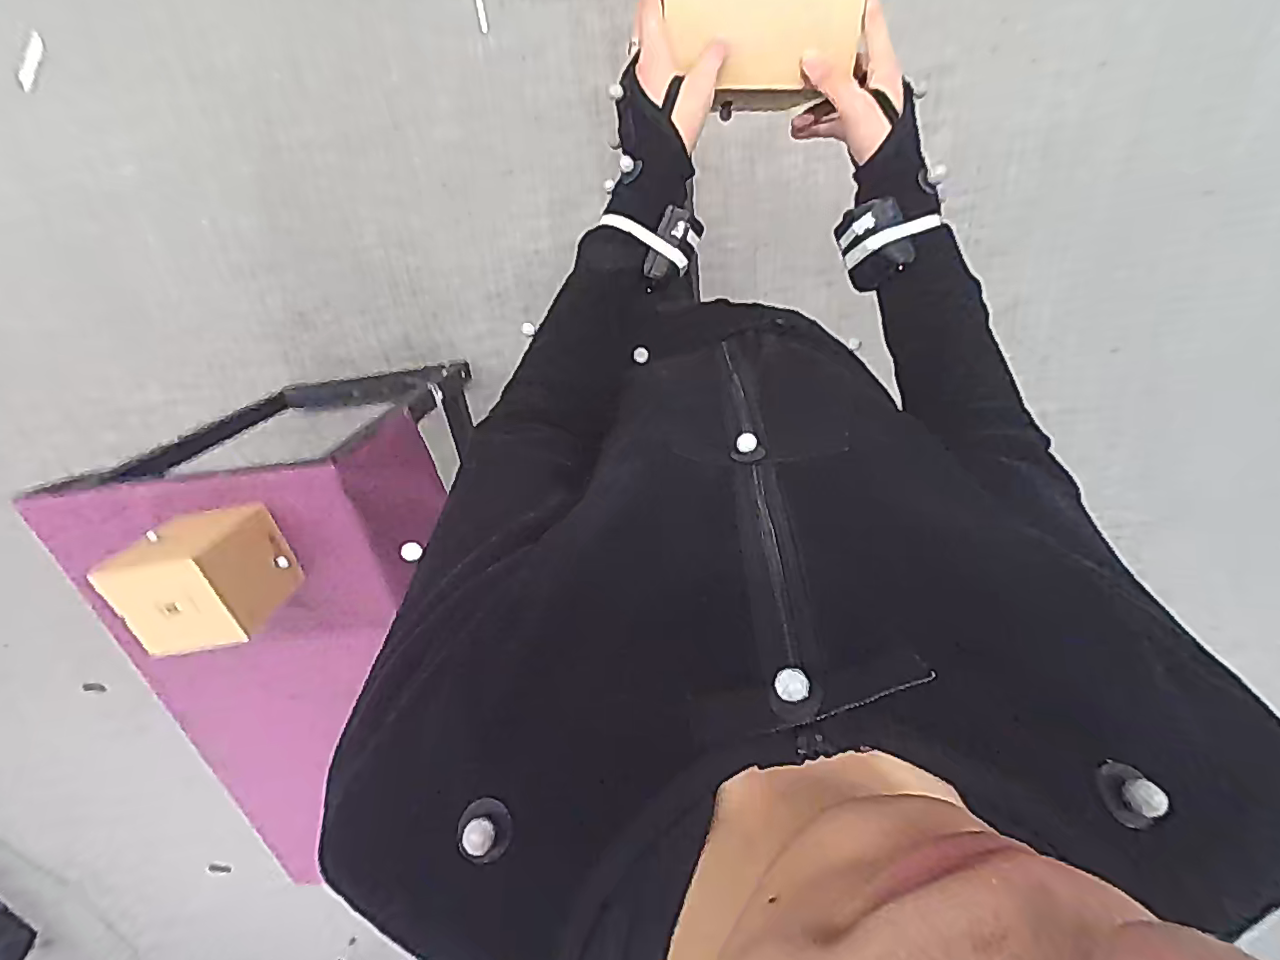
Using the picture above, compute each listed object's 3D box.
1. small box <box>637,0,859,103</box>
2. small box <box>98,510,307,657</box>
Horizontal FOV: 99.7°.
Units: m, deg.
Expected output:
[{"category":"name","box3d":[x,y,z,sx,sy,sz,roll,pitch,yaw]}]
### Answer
[{"category":"small box","box3d":[0.089,-0.452,0.484,0.168,0.176,0.179,-3,119,-6]},{"category":"small box","box3d":[-0.712,0.168,0.905,0.179,0.176,0.168,-9,117,7]}]
